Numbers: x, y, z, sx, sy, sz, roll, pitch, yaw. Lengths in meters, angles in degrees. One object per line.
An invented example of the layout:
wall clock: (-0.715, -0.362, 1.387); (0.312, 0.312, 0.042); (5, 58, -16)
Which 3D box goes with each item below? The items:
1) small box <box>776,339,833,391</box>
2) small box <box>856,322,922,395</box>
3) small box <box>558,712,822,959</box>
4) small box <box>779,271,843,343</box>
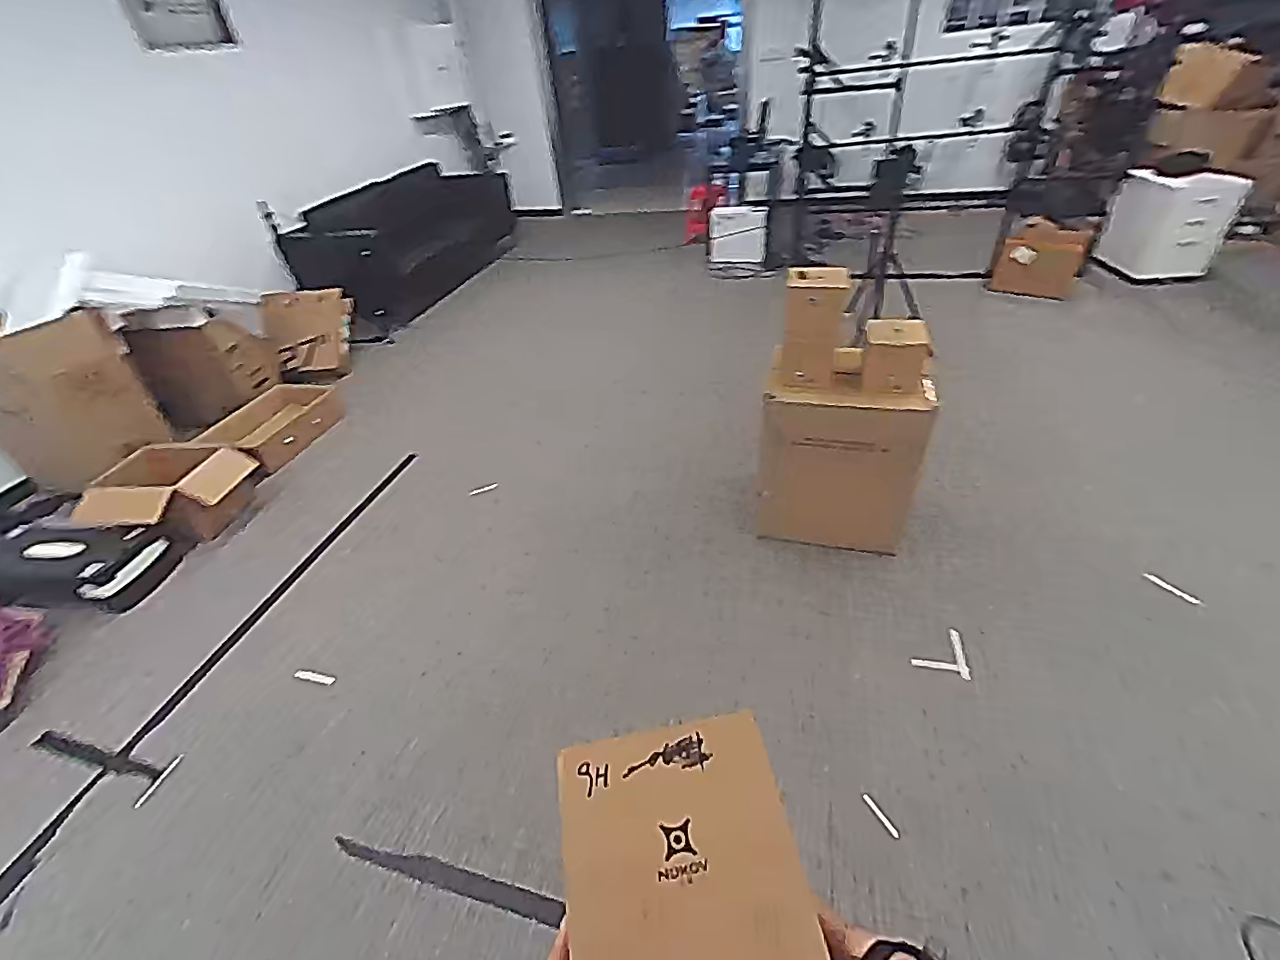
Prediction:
small box: (0.546, -0.416, 1.797); (0.168, 0.176, 0.179); (5, 42, 16)
small box: (0.787, -0.390, 1.723); (0.168, 0.176, 0.179); (4, 40, 17)
small box: (0.031, 0.321, 0.447); (0.168, 0.176, 0.179); (-9, 47, -4)
small box: (0.532, -0.541, 1.691); (0.179, 0.176, 0.168); (6, 41, 14)
